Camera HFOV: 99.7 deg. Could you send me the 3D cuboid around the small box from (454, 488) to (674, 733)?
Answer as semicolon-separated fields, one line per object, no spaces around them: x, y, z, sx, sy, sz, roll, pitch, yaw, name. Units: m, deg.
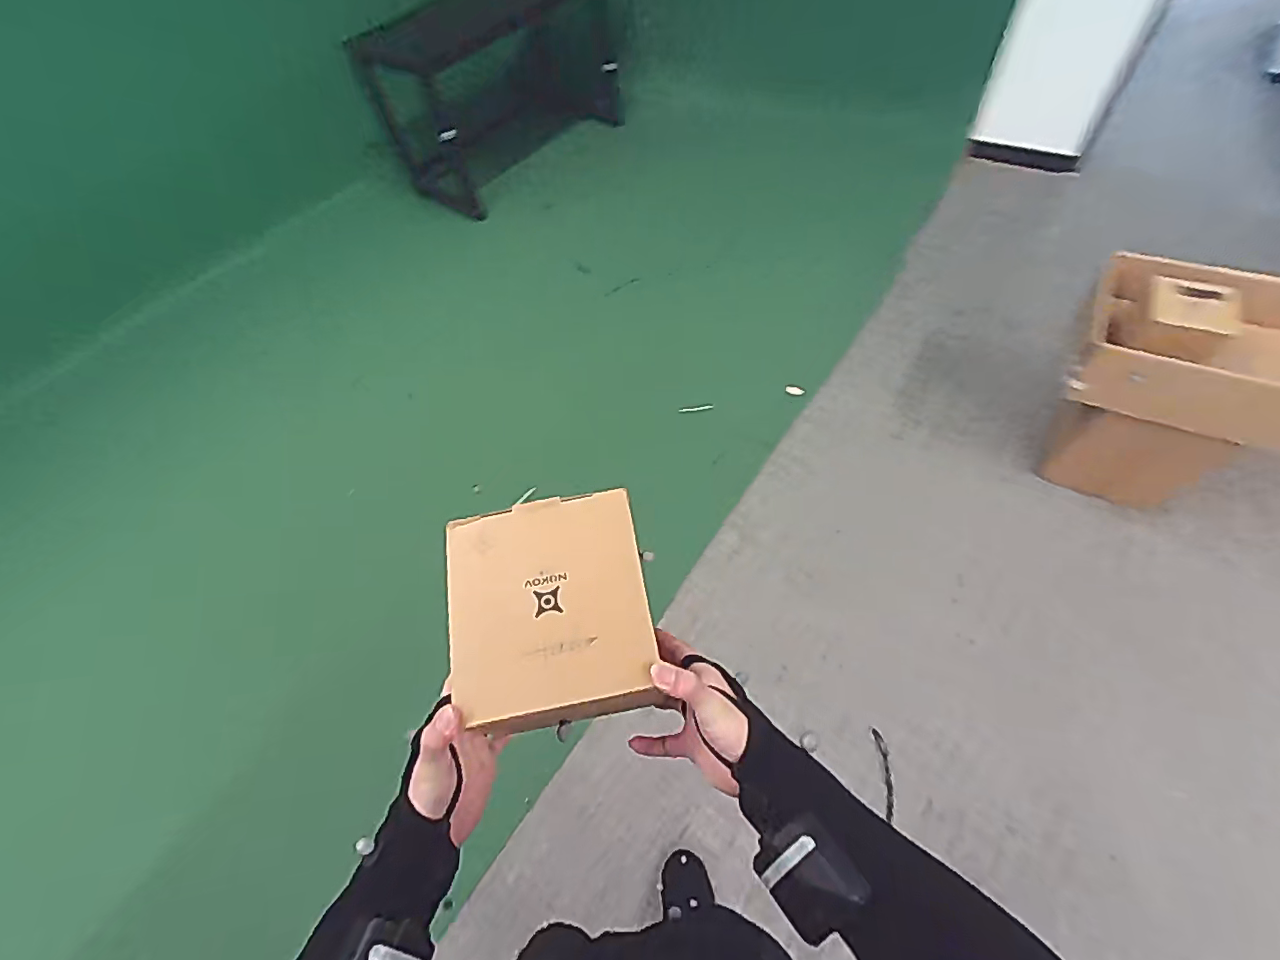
-0.065;0.129;0.509;0.168;0.176;0.179;-8;63;-2;small box
